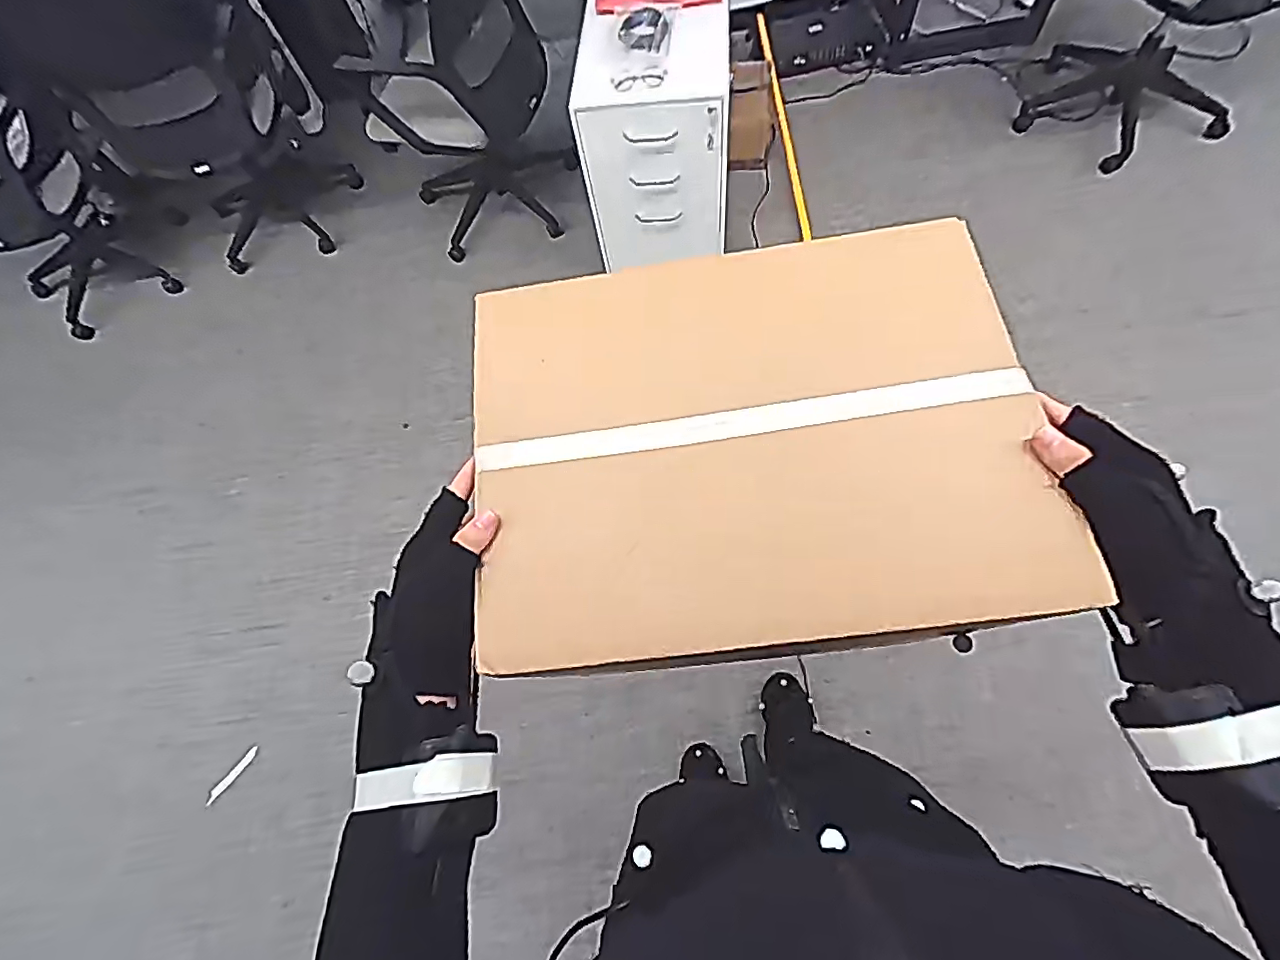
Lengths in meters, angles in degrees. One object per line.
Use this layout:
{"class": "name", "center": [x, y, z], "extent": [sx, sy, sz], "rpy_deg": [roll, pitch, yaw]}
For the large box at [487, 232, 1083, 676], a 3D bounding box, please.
{"class": "large box", "center": [0.097, 0.012, 0.553], "extent": [0.408, 0.320, 0.320], "rpy_deg": [-8, 69, 4]}
